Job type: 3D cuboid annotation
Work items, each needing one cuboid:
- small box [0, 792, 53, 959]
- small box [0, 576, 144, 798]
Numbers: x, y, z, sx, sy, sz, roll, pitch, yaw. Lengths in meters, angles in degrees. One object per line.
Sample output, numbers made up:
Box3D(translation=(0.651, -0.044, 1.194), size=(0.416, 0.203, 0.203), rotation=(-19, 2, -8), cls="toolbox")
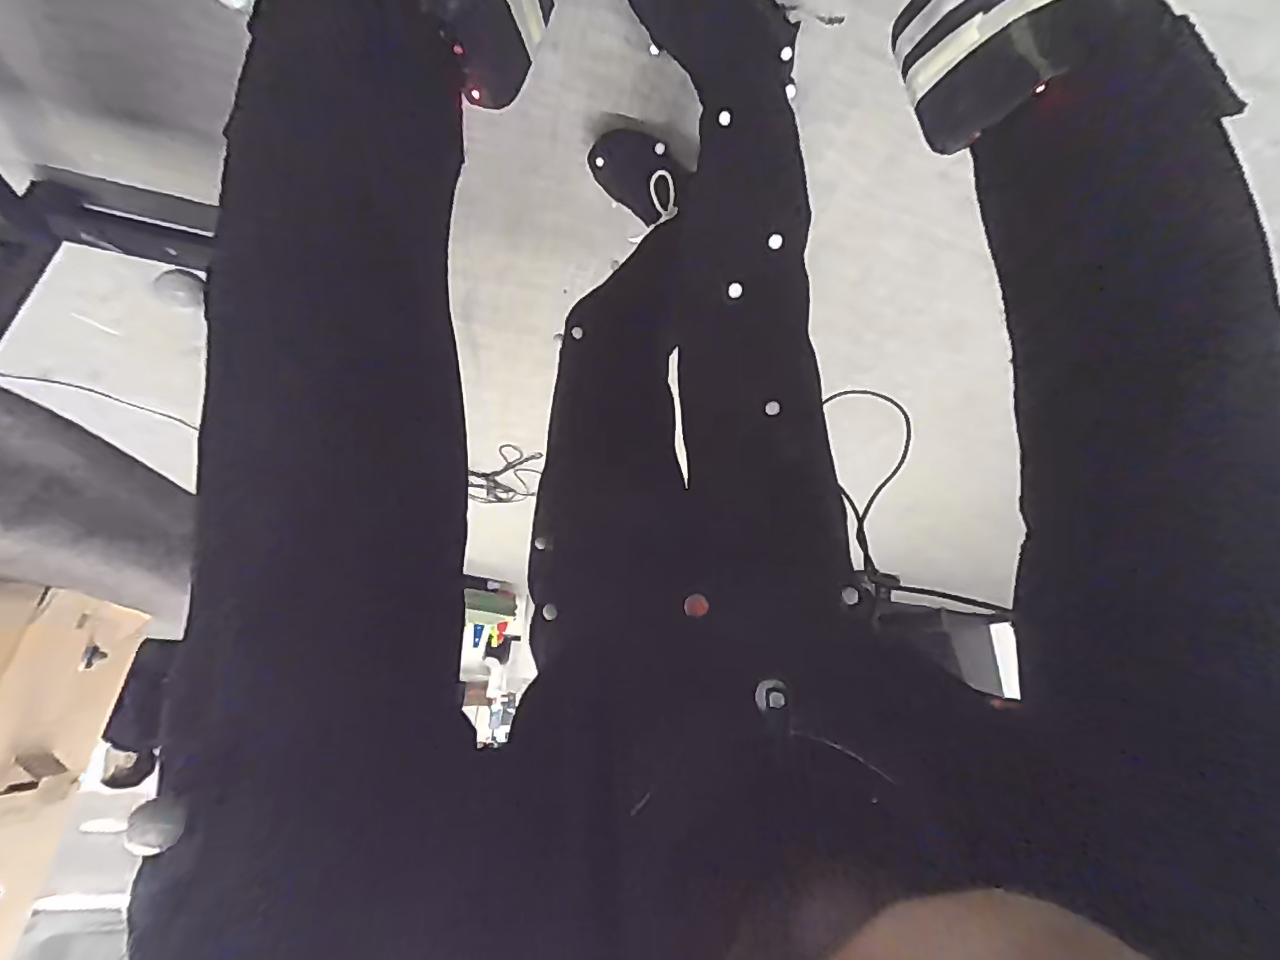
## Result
Box3D(translation=(-0.610, 0.327, 0.402), size=(0.179, 0.176, 0.168), rotation=(7, 155, -11), cls="small box")
Box3D(translation=(-0.607, 0.180, 0.474), size=(0.179, 0.176, 0.168), rotation=(8, 155, -12), cls="small box")
